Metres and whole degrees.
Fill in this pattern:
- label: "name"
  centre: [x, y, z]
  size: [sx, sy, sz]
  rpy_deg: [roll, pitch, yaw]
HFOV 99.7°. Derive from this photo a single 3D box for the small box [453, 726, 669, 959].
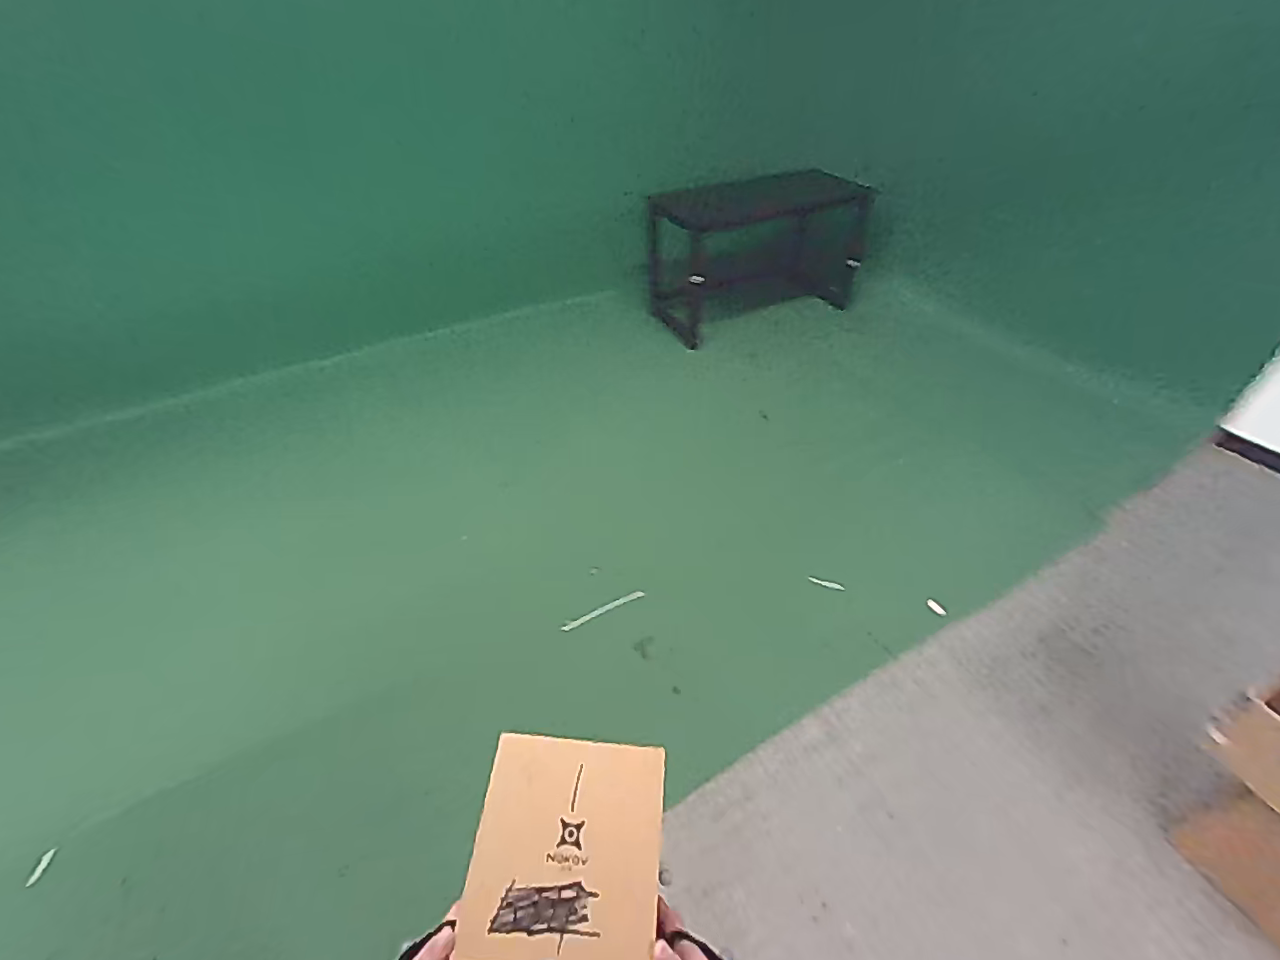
- label: "small box"
  centre: [-0.063, 0.370, 0.543]
  size: [0.168, 0.176, 0.179]
  rpy_deg: [6, 50, 3]
